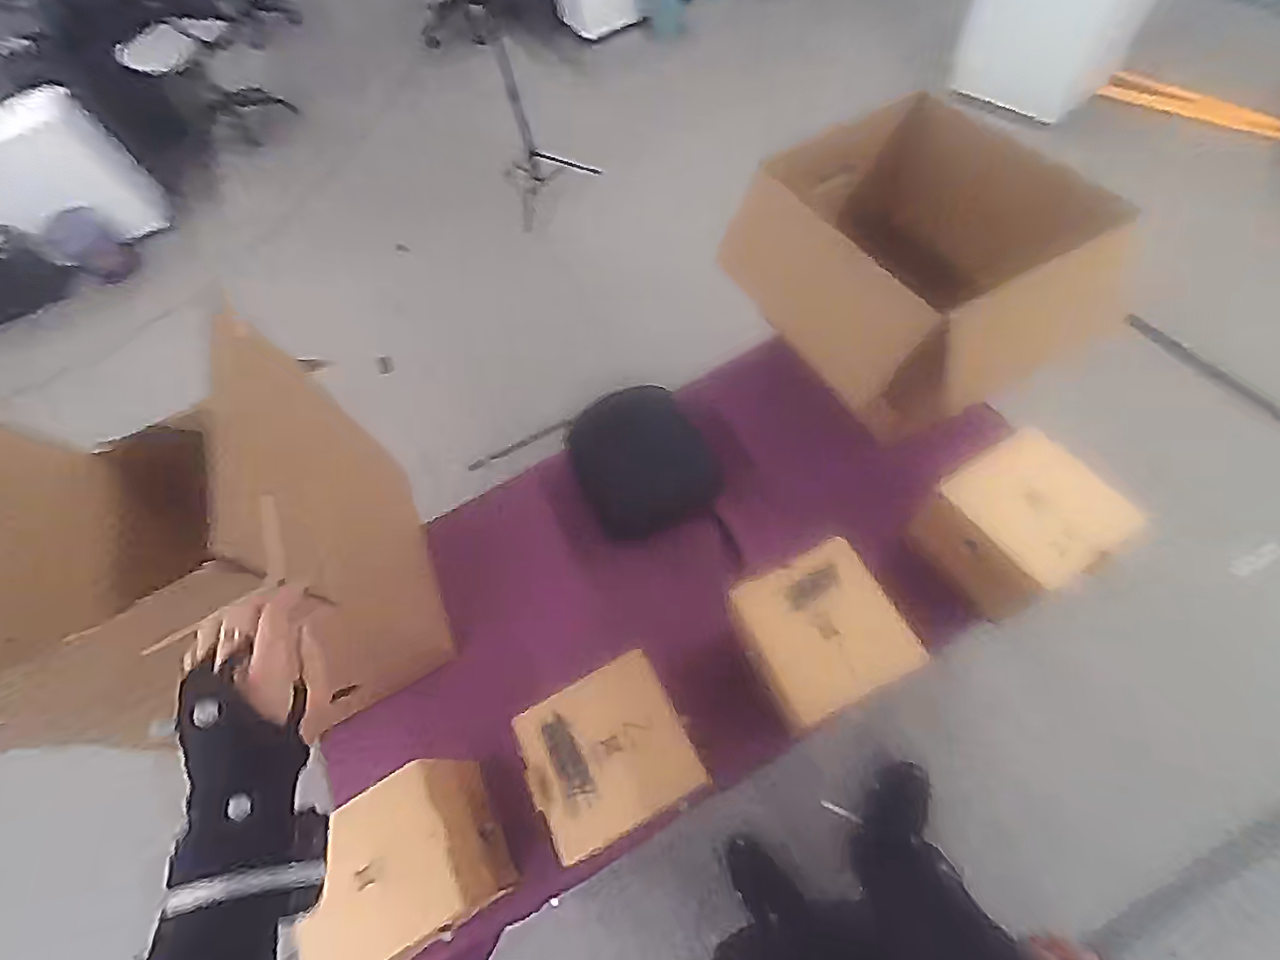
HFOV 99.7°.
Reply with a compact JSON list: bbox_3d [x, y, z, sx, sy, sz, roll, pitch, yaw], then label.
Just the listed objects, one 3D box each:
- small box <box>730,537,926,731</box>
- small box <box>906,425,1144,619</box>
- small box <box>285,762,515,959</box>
[{"bbox_3d":[0.230,0.210,0.717,0.168,0.176,0.179,-26,61,-5],"label":"small box"},{"bbox_3d":[0.506,0.064,0.747,0.168,0.176,0.179,-32,61,-7],"label":"small box"},{"bbox_3d":[-0.283,0.477,0.663,0.179,0.176,0.168,-31,61,-9],"label":"small box"}]
